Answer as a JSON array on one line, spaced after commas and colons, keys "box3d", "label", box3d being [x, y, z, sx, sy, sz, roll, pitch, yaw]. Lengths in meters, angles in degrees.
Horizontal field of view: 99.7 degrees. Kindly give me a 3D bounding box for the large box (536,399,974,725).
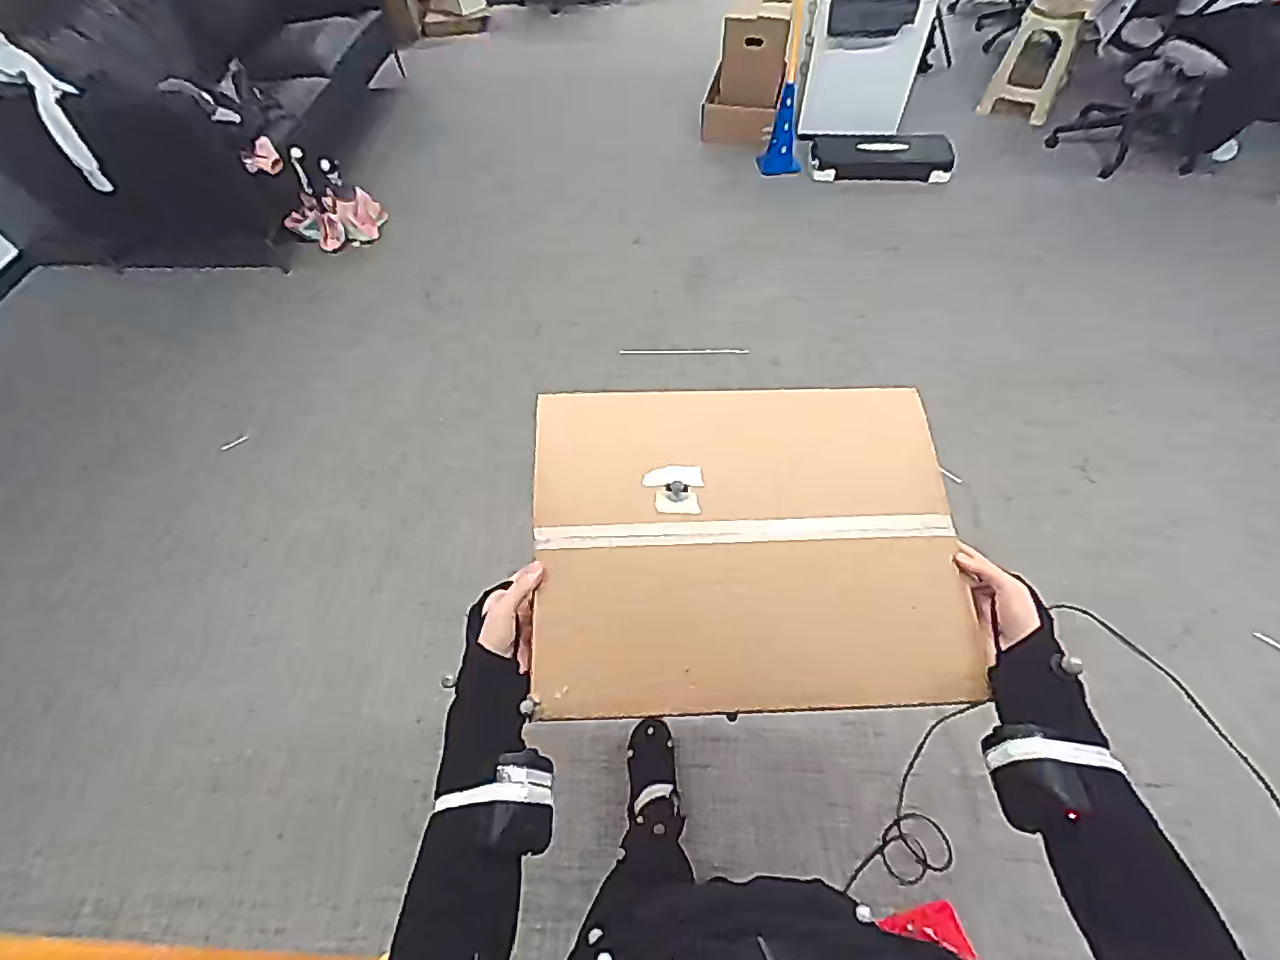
[{"box3d": [0.099, 0.115, 0.673, 0.408, 0.320, 0.320, -2, 68, -2], "label": "large box"}]
